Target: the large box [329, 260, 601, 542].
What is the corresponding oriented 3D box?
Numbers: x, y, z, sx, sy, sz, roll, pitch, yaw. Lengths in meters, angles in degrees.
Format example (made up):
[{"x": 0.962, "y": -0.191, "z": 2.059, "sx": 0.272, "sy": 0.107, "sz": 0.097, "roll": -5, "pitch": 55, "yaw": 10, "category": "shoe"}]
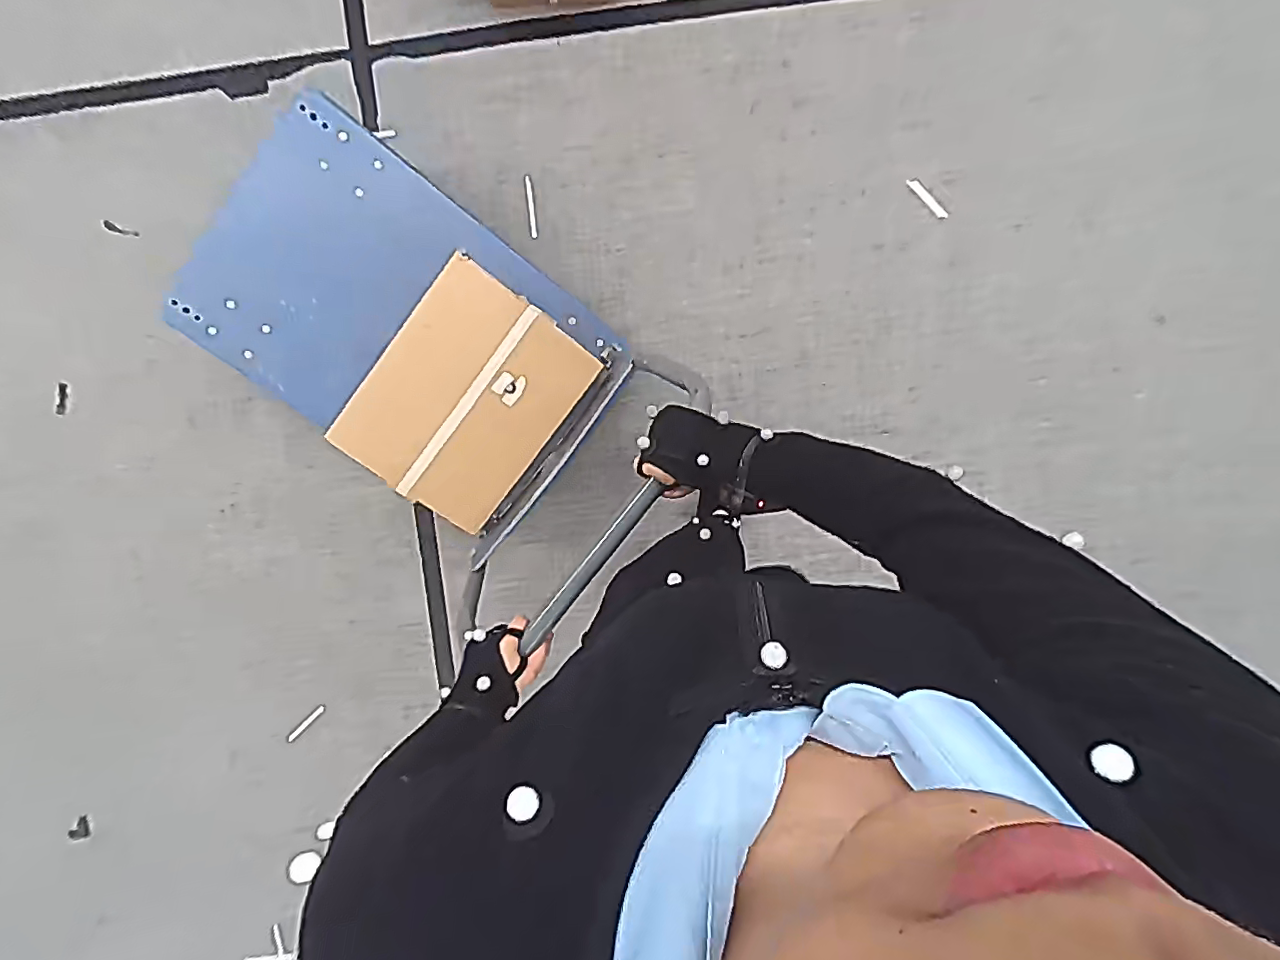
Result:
[{"x": -0.326, "y": -0.153, "z": 1.095, "sx": 0.320, "sy": 0.320, "sz": 0.408, "roll": 36, "pitch": 94, "yaw": -15, "category": "large box"}]
